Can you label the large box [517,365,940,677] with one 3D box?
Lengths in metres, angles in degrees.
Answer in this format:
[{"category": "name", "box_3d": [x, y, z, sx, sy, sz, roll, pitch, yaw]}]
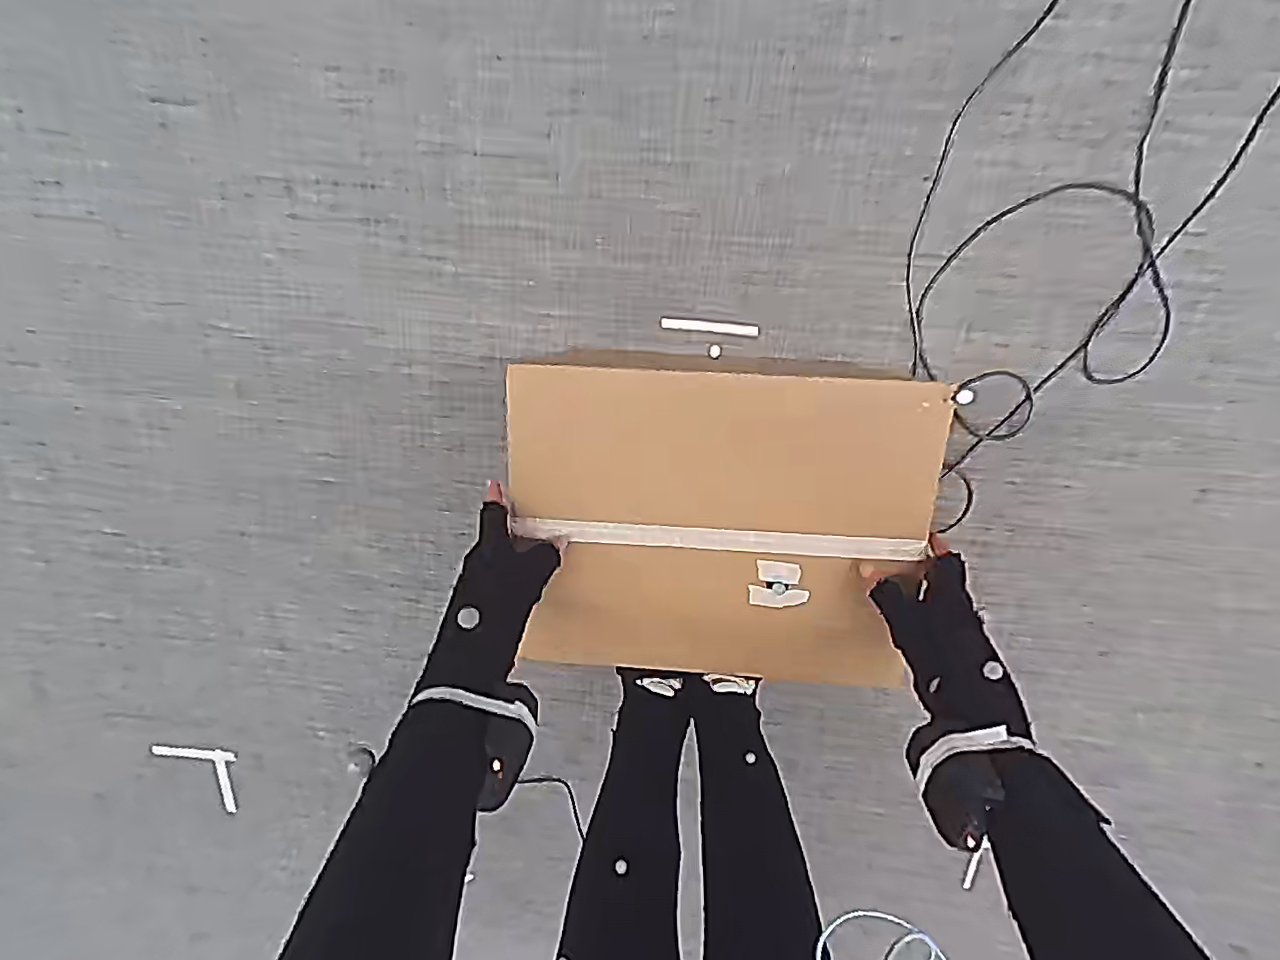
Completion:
[{"category": "large box", "box_3d": [0.084, 0.018, 0.688, 0.408, 0.320, 0.320, 3, 106, 3]}]
